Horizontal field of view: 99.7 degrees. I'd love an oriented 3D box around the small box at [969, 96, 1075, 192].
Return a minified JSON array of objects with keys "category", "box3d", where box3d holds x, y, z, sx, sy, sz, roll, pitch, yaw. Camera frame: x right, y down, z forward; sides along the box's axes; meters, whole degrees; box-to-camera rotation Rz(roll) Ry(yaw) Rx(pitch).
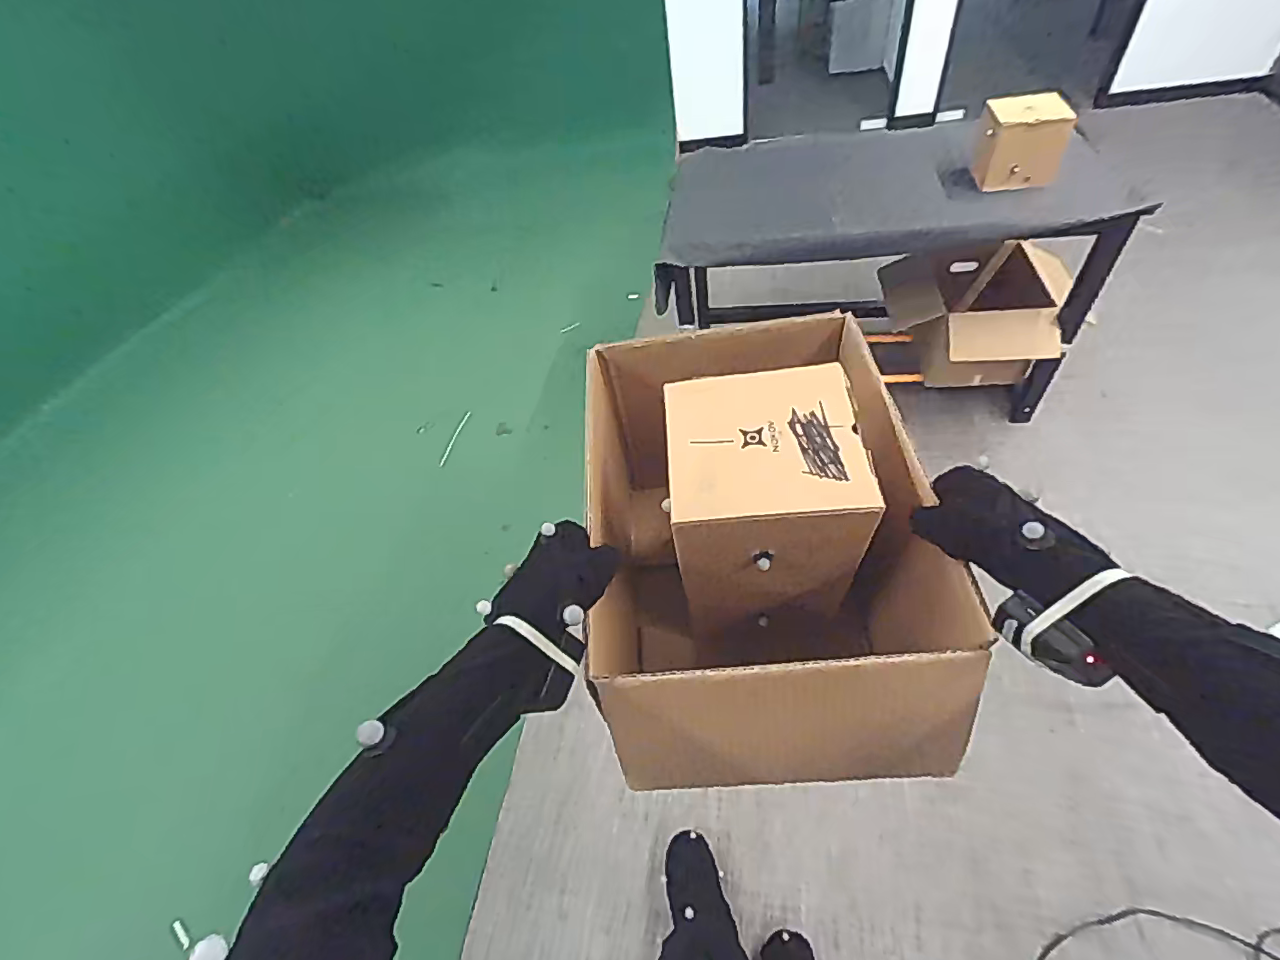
[{"category":"small box","box3d":[1.007,-0.895,1.447,0.168,0.176,0.179,2,51,13]}]
